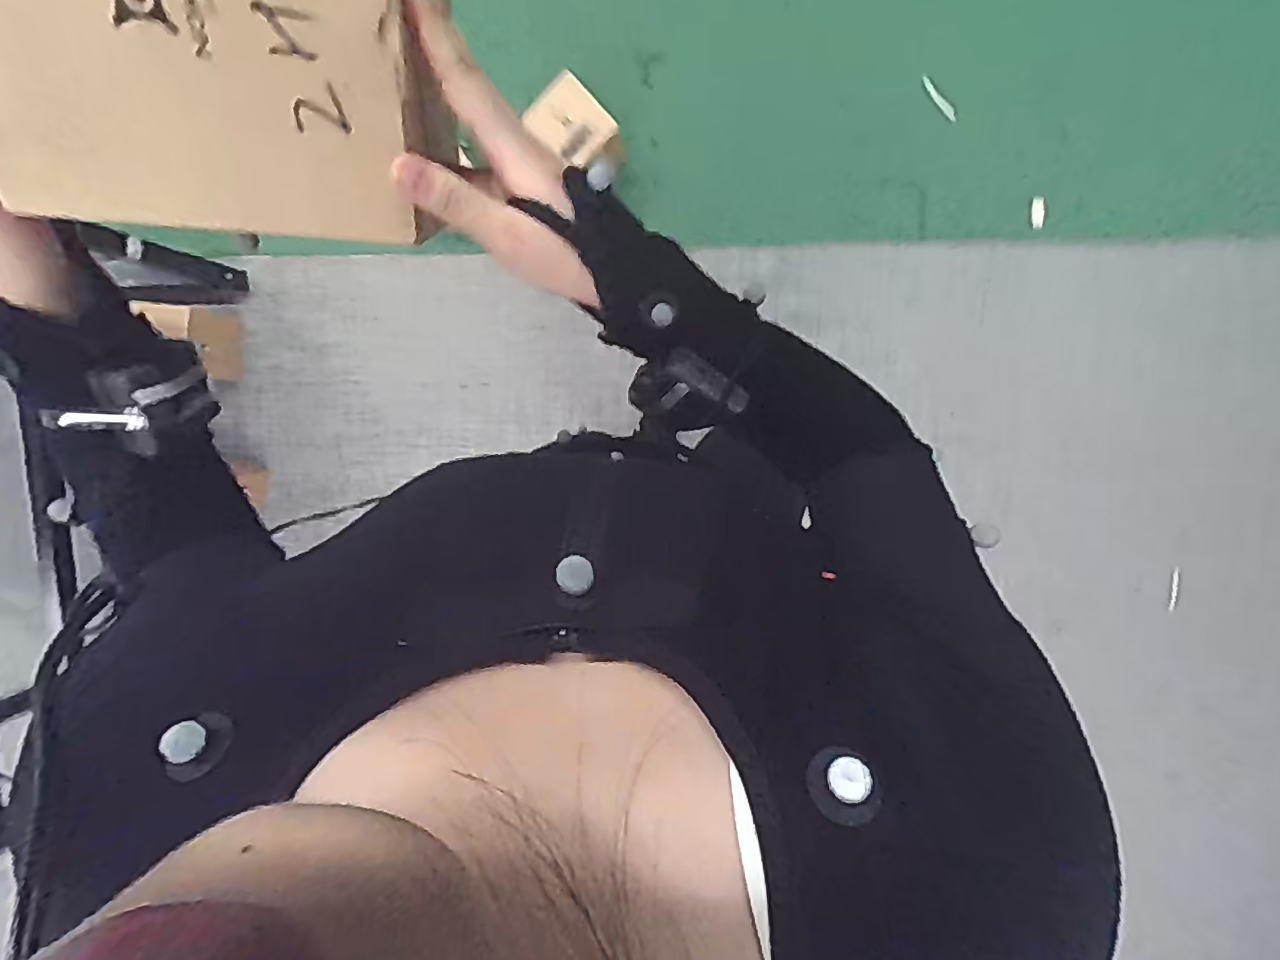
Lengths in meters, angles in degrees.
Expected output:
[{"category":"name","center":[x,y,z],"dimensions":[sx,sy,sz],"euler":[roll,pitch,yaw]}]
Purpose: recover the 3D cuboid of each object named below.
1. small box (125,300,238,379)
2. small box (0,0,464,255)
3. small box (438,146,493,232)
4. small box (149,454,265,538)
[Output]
[{"category":"small box","center":[-1.215,-0.367,1.442],"dimensions":[0.168,0.176,0.179],"euler":[6,96,3]},{"category":"small box","center":[-0.198,-0.222,0.281],"dimensions":[0.179,0.176,0.168],"euler":[-1,122,-10]},{"category":"small box","center":[-0.500,-0.762,1.352],"dimensions":[0.168,0.176,0.179],"euler":[-35,94,7]},{"category":"small box","center":[-1.181,0.036,1.488],"dimensions":[0.168,0.176,0.179],"euler":[21,99,2]}]
